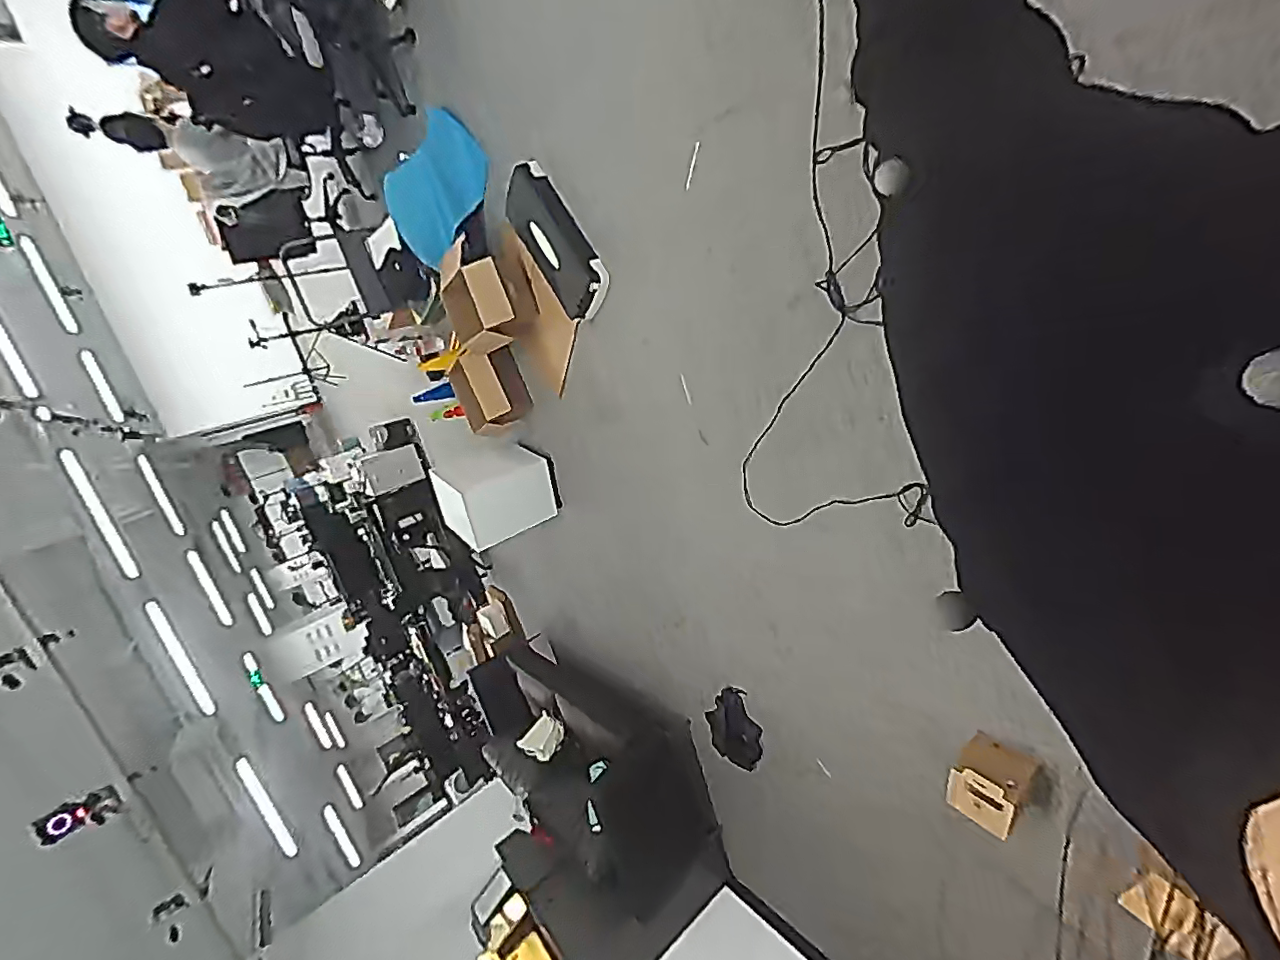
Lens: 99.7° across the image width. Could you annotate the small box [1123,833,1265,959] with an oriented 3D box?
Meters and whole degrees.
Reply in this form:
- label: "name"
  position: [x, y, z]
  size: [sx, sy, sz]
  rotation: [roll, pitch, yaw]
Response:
- label: "small box"
  position: [1.285, 0.976, 1.255]
  size: [0.168, 0.176, 0.179]
  rotation: [34, 137, 40]
